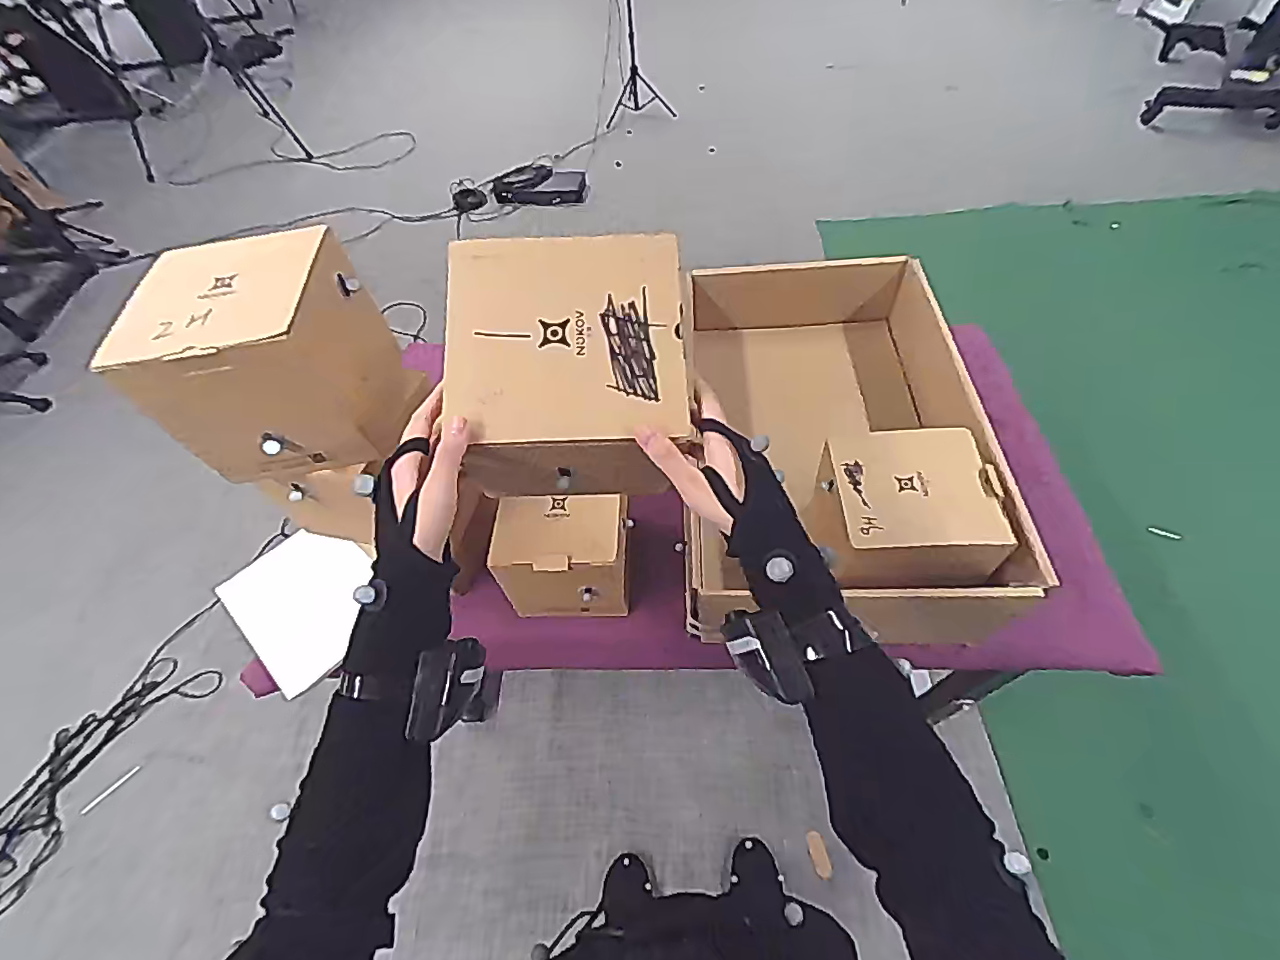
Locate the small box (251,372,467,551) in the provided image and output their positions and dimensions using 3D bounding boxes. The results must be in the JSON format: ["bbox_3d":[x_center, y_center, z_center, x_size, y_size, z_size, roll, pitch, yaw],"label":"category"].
[{"bbox_3d":[-0.348,-0.026,0.689,0.179,0.176,0.168,9,56,12],"label":"small box"}]

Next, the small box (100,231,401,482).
[{"bbox_3d":[-0.367,-0.123,0.557,0.168,0.176,0.179,-10,54,0],"label":"small box"}]

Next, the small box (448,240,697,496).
[{"bbox_3d":[-0.054,-0.083,0.472,0.179,0.176,0.168,-2,76,-4],"label":"small box"}]
